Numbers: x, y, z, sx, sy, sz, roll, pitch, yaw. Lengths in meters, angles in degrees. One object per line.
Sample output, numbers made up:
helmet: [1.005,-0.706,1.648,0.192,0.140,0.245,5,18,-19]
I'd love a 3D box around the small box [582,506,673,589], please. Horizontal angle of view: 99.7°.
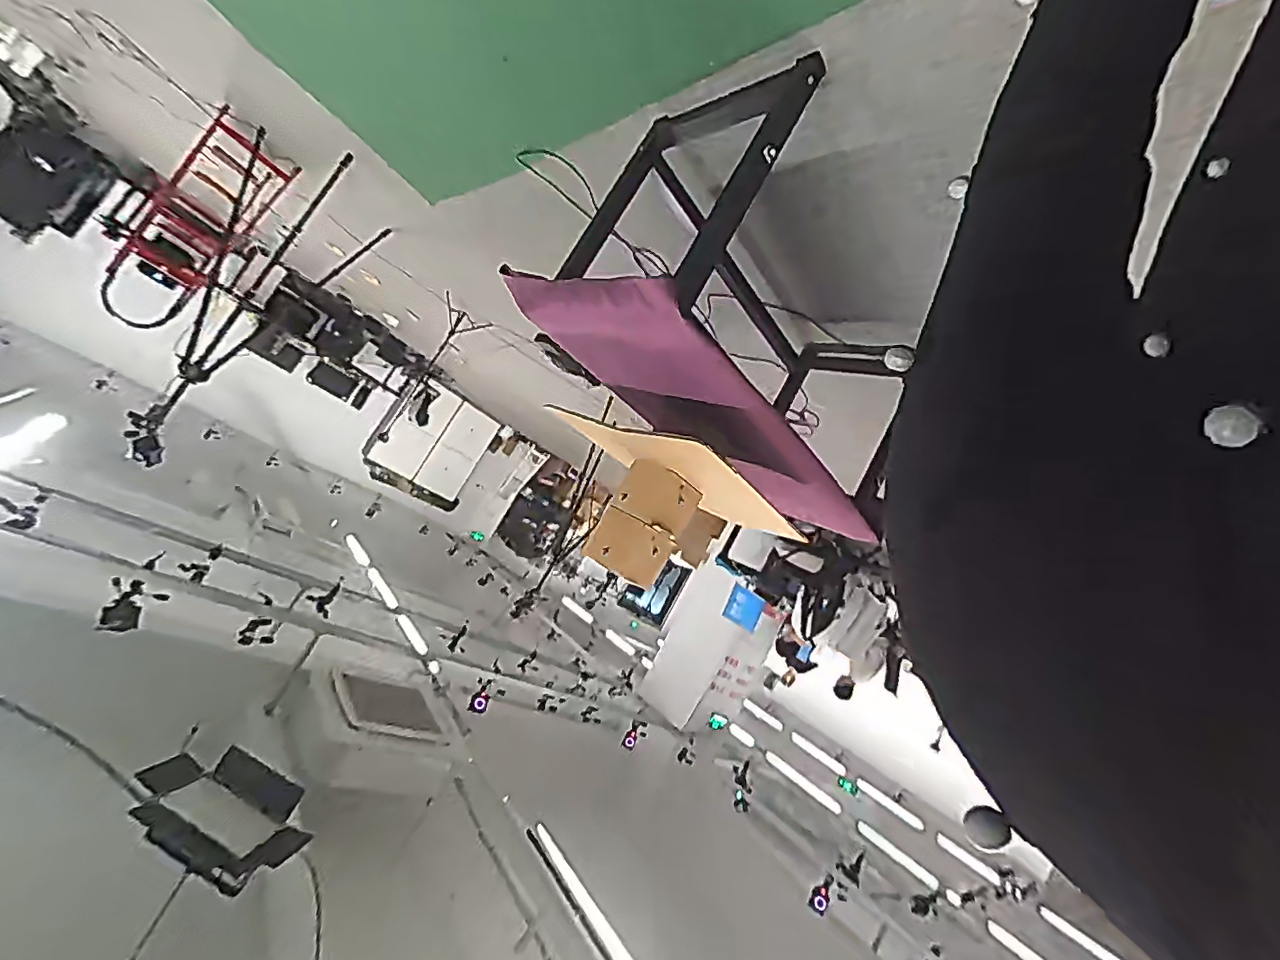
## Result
small box: [-0.033,0.195,1.613,0.179,0.176,0.168,22,169,47]

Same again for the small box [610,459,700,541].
small box: [0.049,0.055,1.633,0.179,0.176,0.168,23,170,47]
